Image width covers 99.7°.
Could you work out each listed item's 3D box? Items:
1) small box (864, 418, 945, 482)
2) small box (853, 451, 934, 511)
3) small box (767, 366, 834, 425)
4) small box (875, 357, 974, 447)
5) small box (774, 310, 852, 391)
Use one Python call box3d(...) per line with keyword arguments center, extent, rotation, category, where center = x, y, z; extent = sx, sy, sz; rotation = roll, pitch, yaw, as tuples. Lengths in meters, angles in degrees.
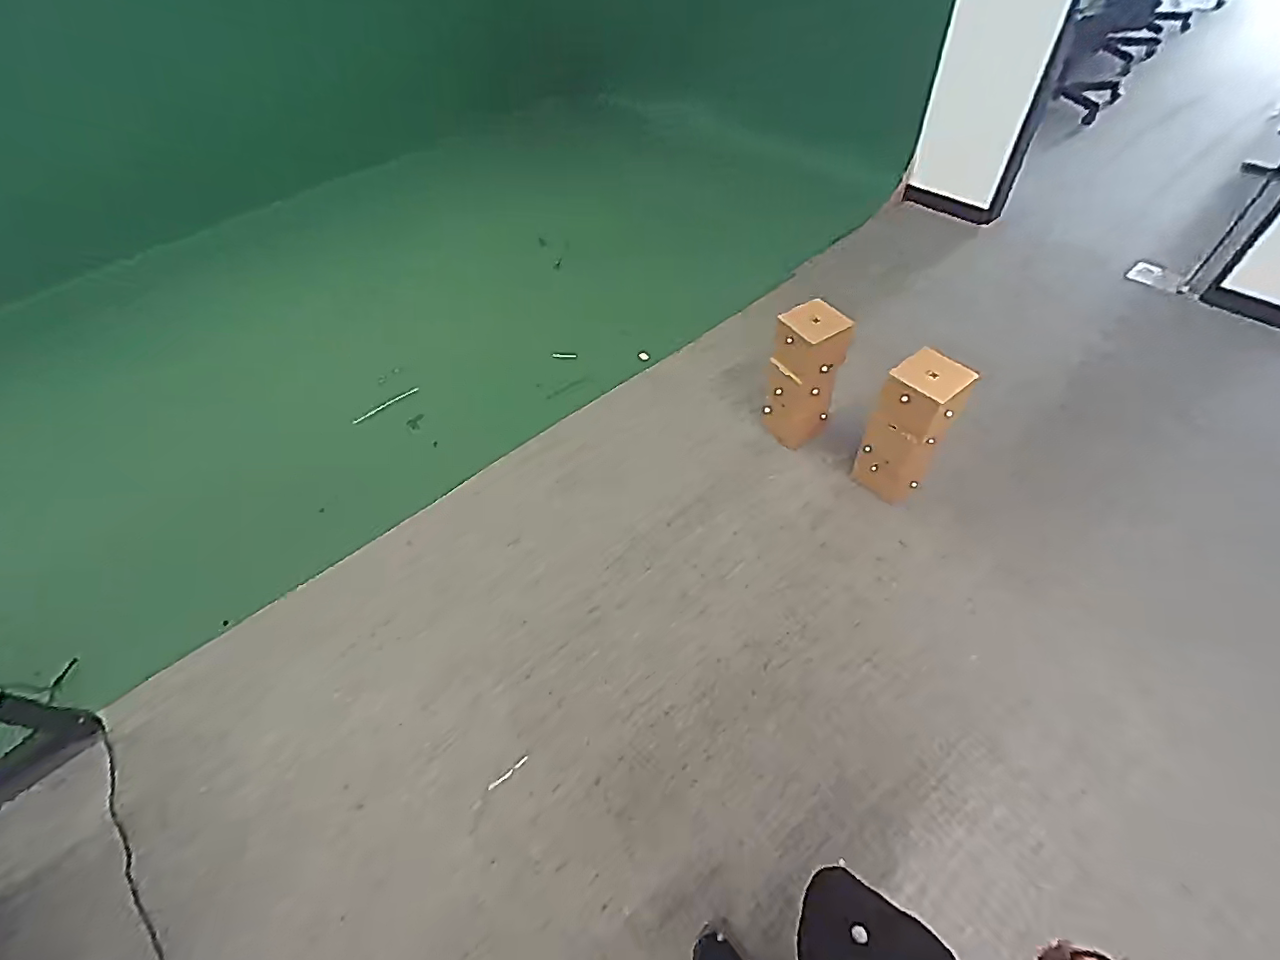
box3d(center=(0.836, -0.125, 1.716), extent=(0.179, 0.176, 0.168), rotation=(-32, 55, -18), category="small box")
box3d(center=(0.856, -0.028, 1.846), extent=(0.168, 0.176, 0.179), rotation=(-34, 55, -17), category="small box")
box3d(center=(0.567, -0.323, 1.912), extent=(0.179, 0.176, 0.168), rotation=(-28, 54, -14), category="small box")
box3d(center=(0.825, -0.220, 1.585), extent=(0.168, 0.176, 0.179), rotation=(-33, 54, -18), category="small box")
box3d(center=(0.561, -0.424, 1.783), extent=(0.168, 0.176, 0.179), rotation=(-26, 53, -13), category="small box")
